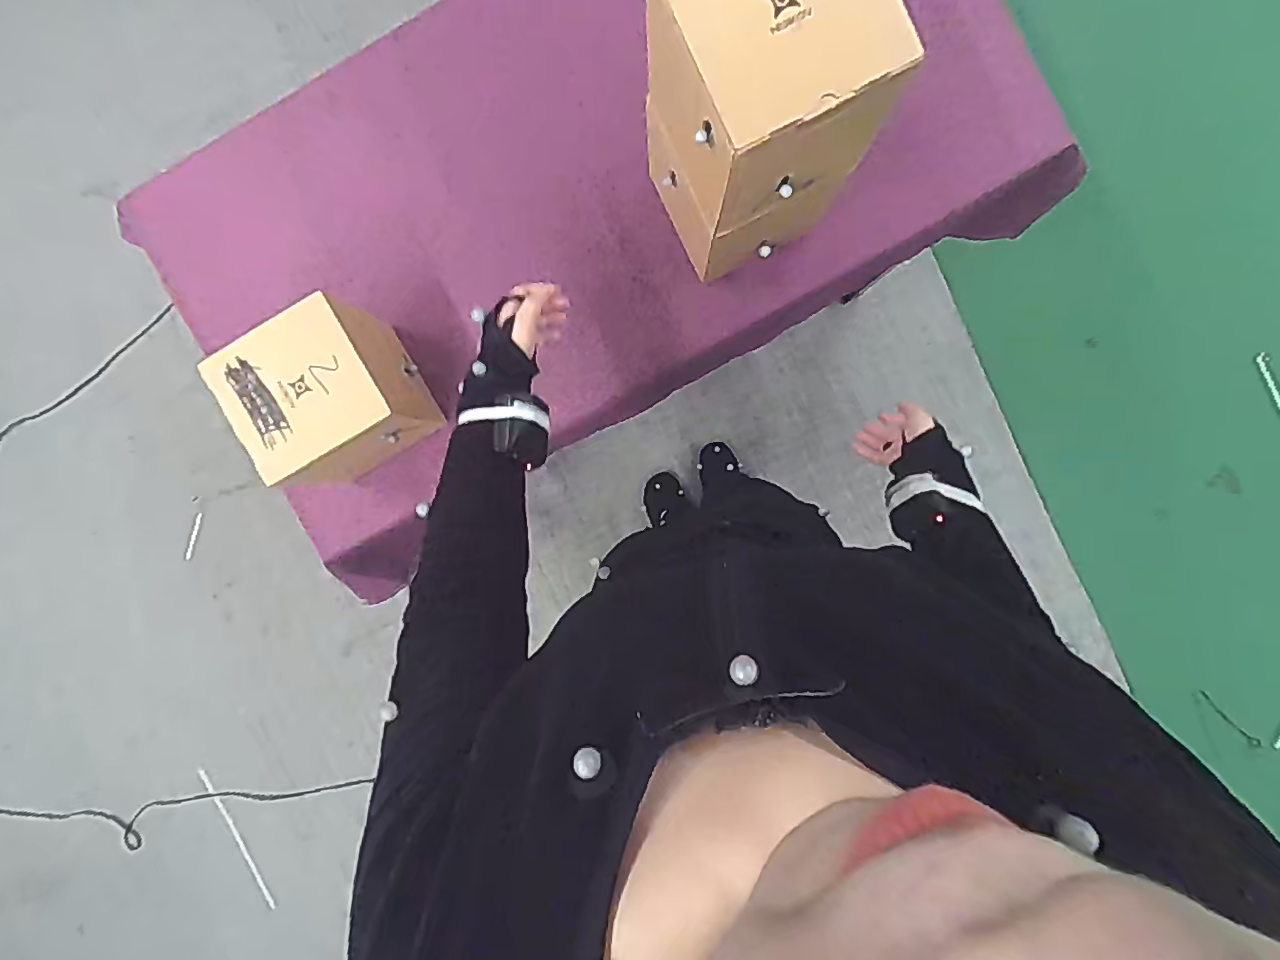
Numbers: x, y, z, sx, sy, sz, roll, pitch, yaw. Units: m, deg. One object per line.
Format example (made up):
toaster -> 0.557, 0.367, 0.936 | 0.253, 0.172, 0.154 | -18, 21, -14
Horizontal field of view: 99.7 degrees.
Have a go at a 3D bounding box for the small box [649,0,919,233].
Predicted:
small box -> 0.113, -0.372, 0.506 | 0.168, 0.176, 0.179 | -26, 93, 3

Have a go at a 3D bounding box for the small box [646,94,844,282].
small box -> 0.116, -0.379, 0.669 | 0.168, 0.176, 0.179 | -25, 92, 4
